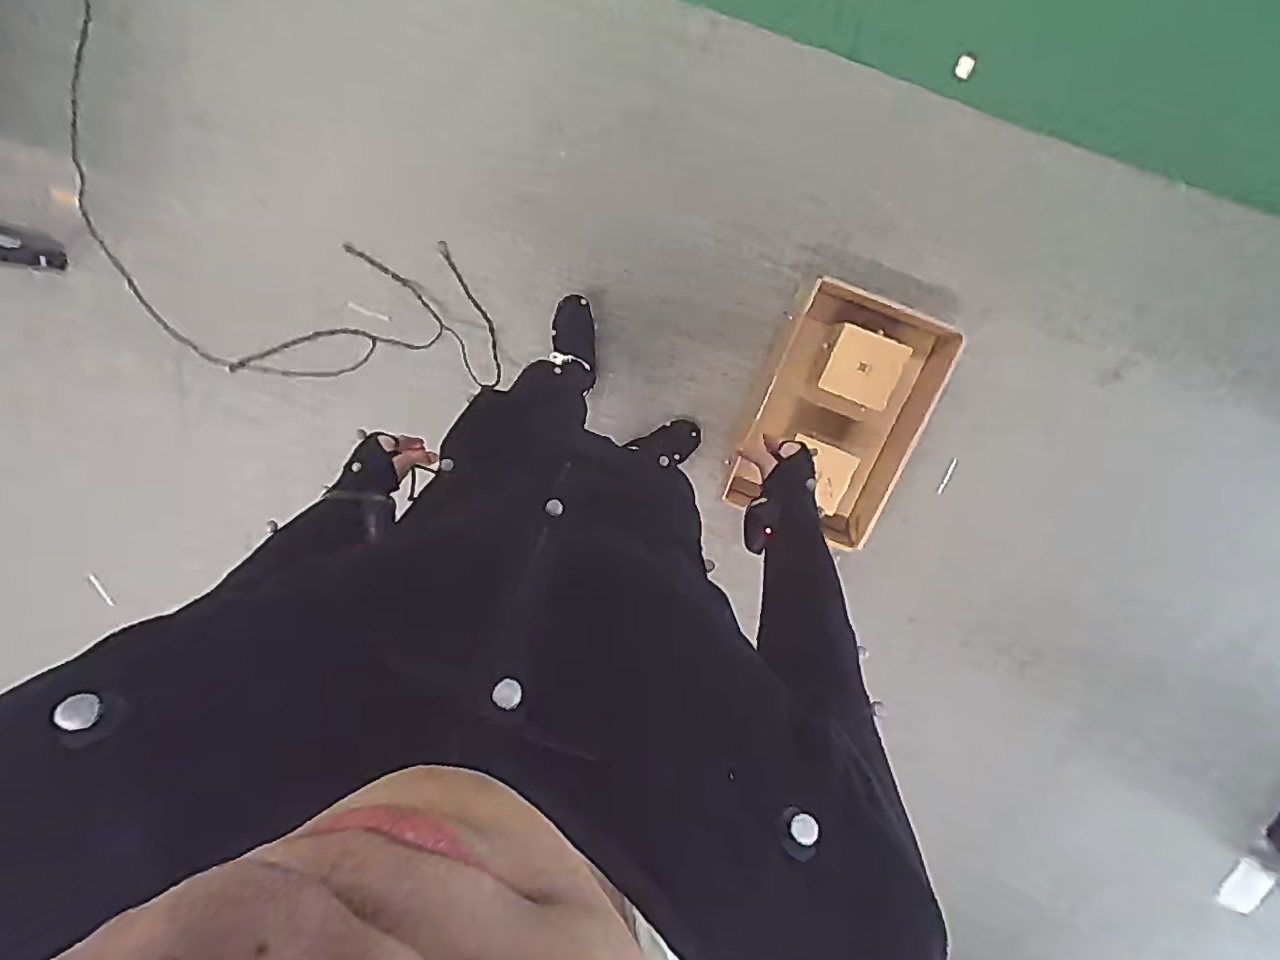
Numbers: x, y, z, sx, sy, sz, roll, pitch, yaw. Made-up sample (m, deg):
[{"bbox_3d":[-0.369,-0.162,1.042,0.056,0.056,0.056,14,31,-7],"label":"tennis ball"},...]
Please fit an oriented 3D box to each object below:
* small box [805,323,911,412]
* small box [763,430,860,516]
[{"bbox_3d":[0.546,-0.287,1.385,0.179,0.176,0.168,21,104,-1],"label":"small box"},{"bbox_3d":[0.447,-0.026,1.447,0.179,0.176,0.168,23,103,-1],"label":"small box"}]
